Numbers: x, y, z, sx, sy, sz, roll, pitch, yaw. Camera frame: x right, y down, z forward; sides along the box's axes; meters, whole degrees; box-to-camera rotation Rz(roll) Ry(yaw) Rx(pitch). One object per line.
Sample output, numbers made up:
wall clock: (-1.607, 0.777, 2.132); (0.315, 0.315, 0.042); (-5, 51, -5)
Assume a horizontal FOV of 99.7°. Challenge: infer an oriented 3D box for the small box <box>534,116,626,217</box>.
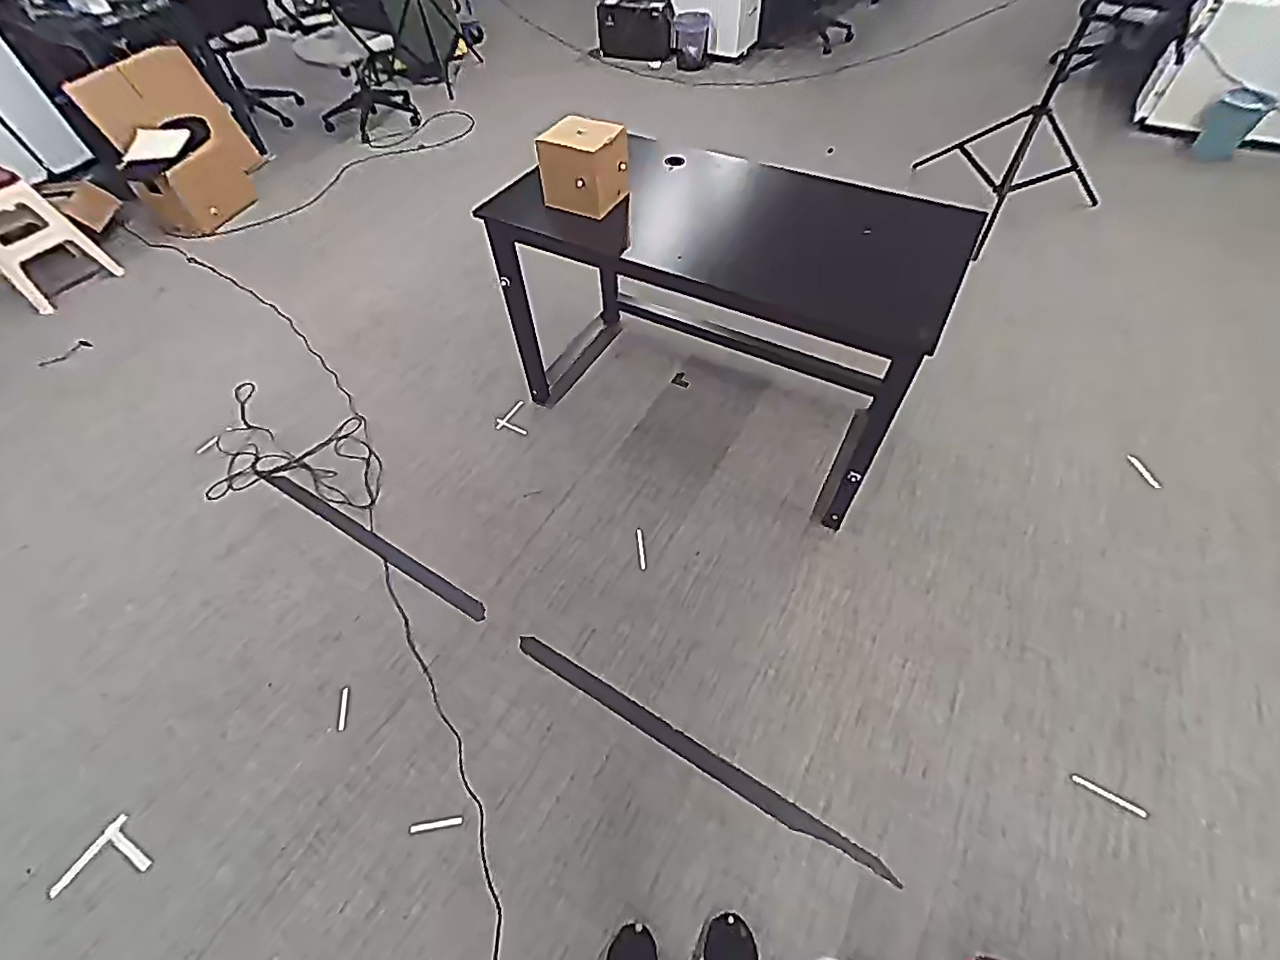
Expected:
small box: (-0.146, -0.816, 1.415); (0.179, 0.176, 0.168); (22, 57, 18)
